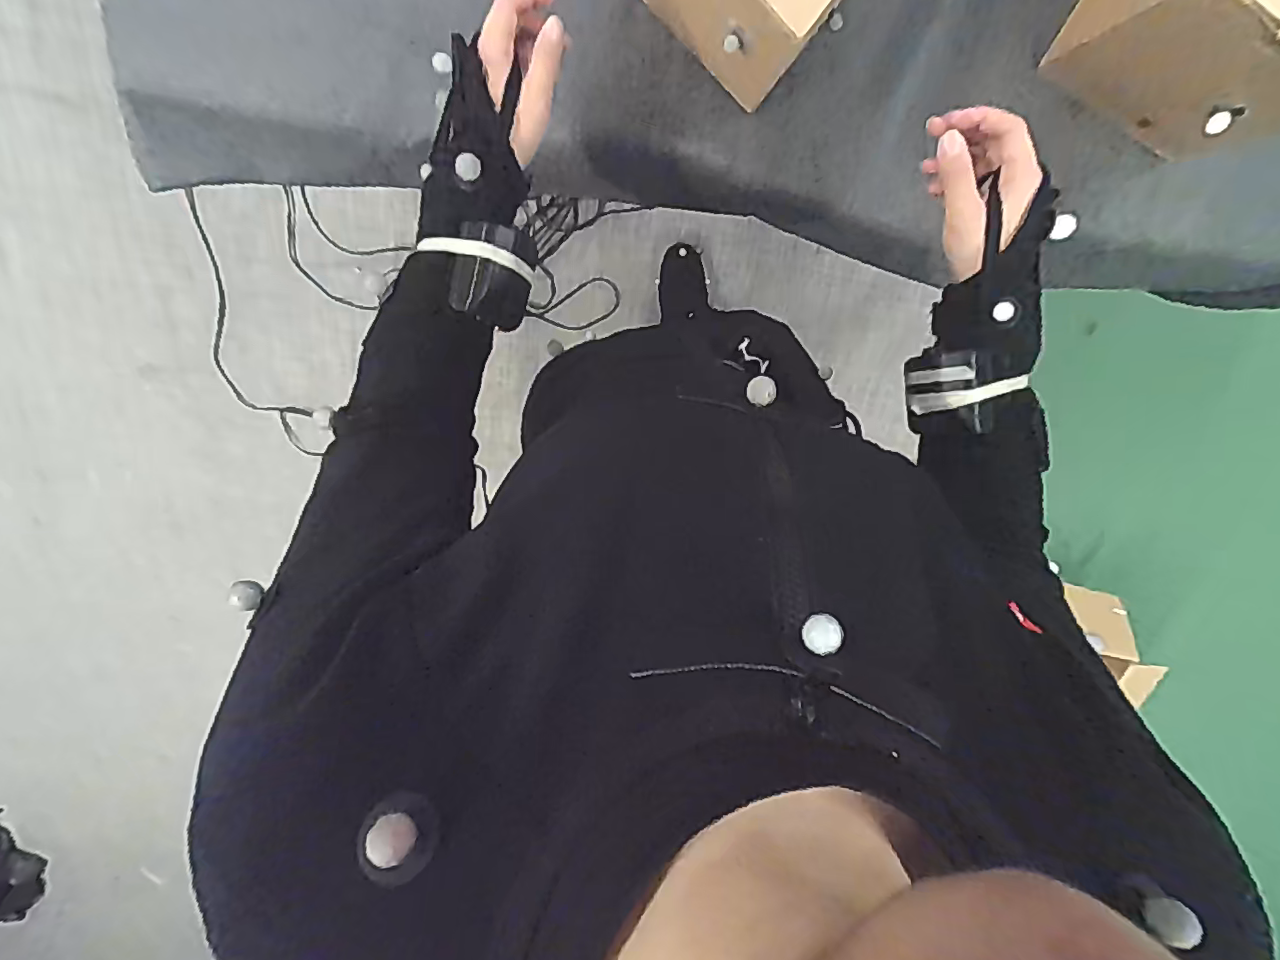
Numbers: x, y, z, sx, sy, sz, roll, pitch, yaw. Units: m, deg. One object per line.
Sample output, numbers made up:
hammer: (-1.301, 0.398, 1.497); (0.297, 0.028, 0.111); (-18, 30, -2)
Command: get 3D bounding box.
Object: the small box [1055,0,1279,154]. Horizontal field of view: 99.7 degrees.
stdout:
small box: (0.461, -0.376, 0.395); (0.168, 0.176, 0.179); (25, 107, -9)
